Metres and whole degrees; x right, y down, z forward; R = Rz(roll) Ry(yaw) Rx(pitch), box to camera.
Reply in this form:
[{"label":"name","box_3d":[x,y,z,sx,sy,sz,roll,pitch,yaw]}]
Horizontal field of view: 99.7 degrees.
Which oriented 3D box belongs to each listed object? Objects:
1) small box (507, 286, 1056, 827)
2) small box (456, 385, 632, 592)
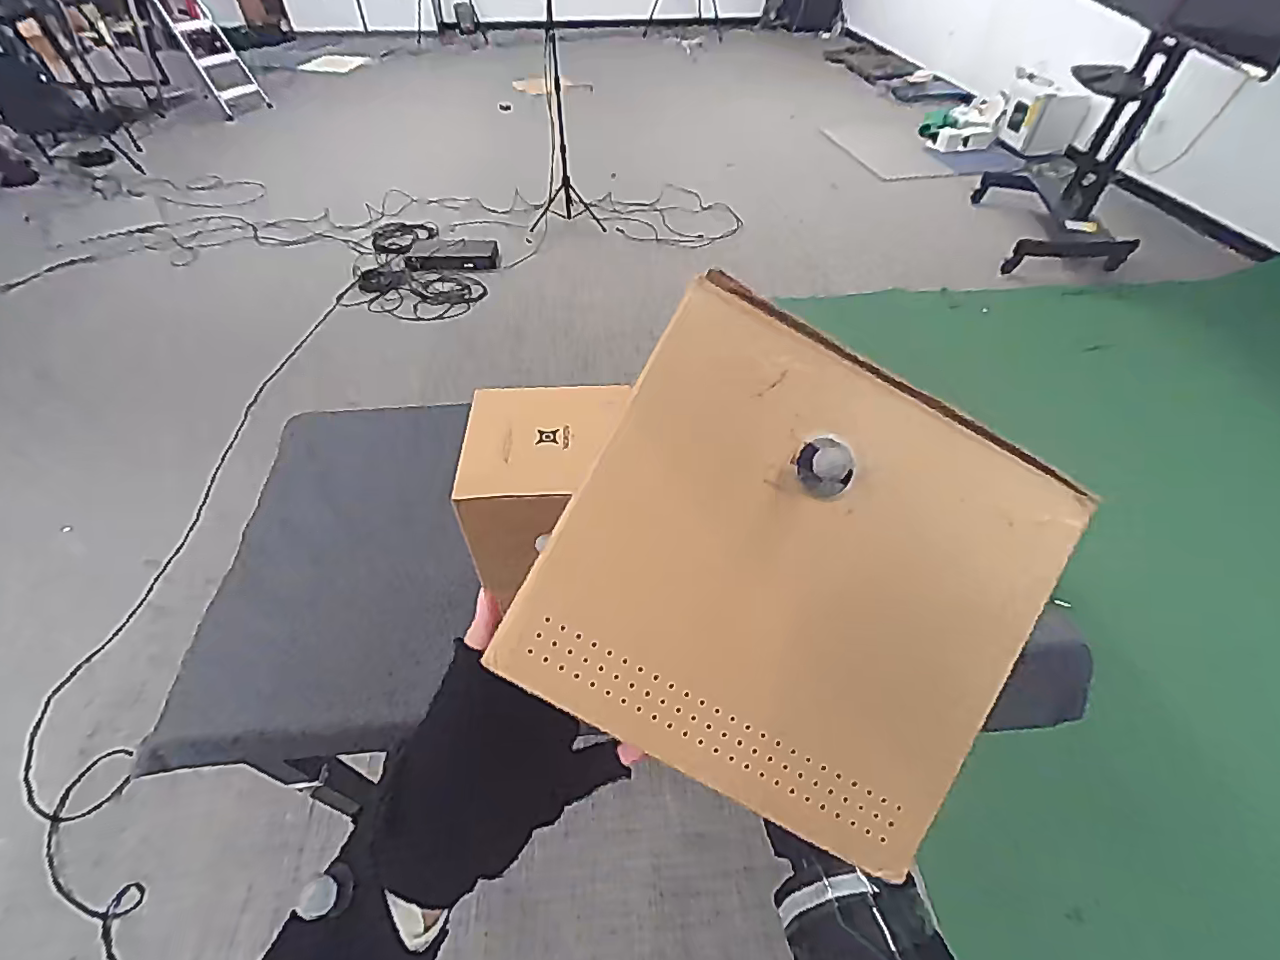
[{"label":"small box","box_3d":[0.053,0.037,0.290,0.179,0.168,0.176,29,89,-1]},{"label":"small box","box_3d":[-0.089,0.012,0.612,0.179,0.176,0.168,-3,46,-3]}]
